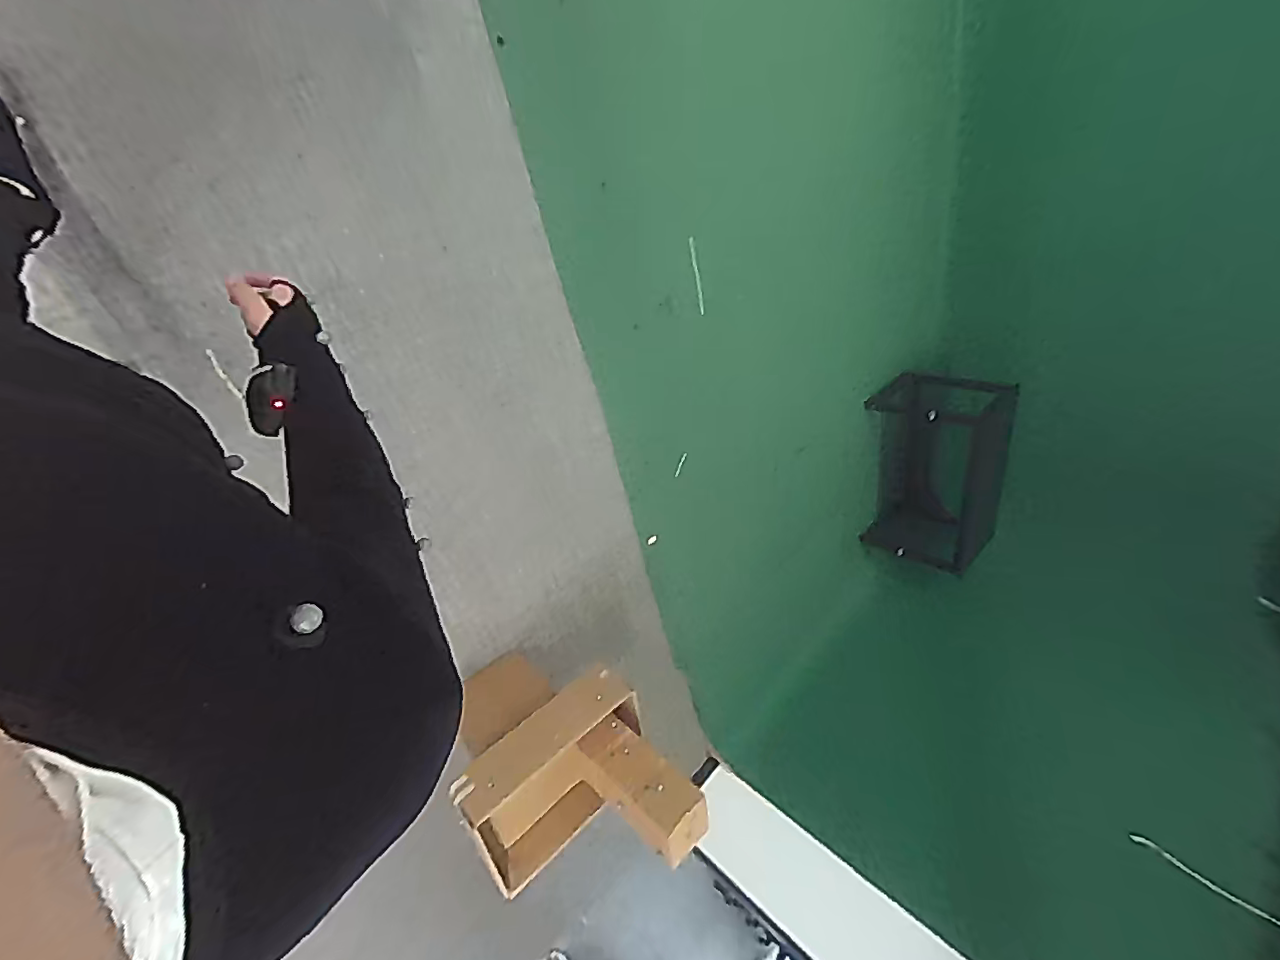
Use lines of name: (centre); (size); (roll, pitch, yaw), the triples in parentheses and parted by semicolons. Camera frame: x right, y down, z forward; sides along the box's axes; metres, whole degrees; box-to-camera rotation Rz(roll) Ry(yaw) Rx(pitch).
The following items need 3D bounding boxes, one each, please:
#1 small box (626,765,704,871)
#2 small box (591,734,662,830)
small box: (0.075, 1.013, 1.634); (0.168, 0.176, 0.179); (-27, 123, -36)
small box: (-0.038, 0.966, 1.744); (0.168, 0.176, 0.179); (-28, 123, -35)
